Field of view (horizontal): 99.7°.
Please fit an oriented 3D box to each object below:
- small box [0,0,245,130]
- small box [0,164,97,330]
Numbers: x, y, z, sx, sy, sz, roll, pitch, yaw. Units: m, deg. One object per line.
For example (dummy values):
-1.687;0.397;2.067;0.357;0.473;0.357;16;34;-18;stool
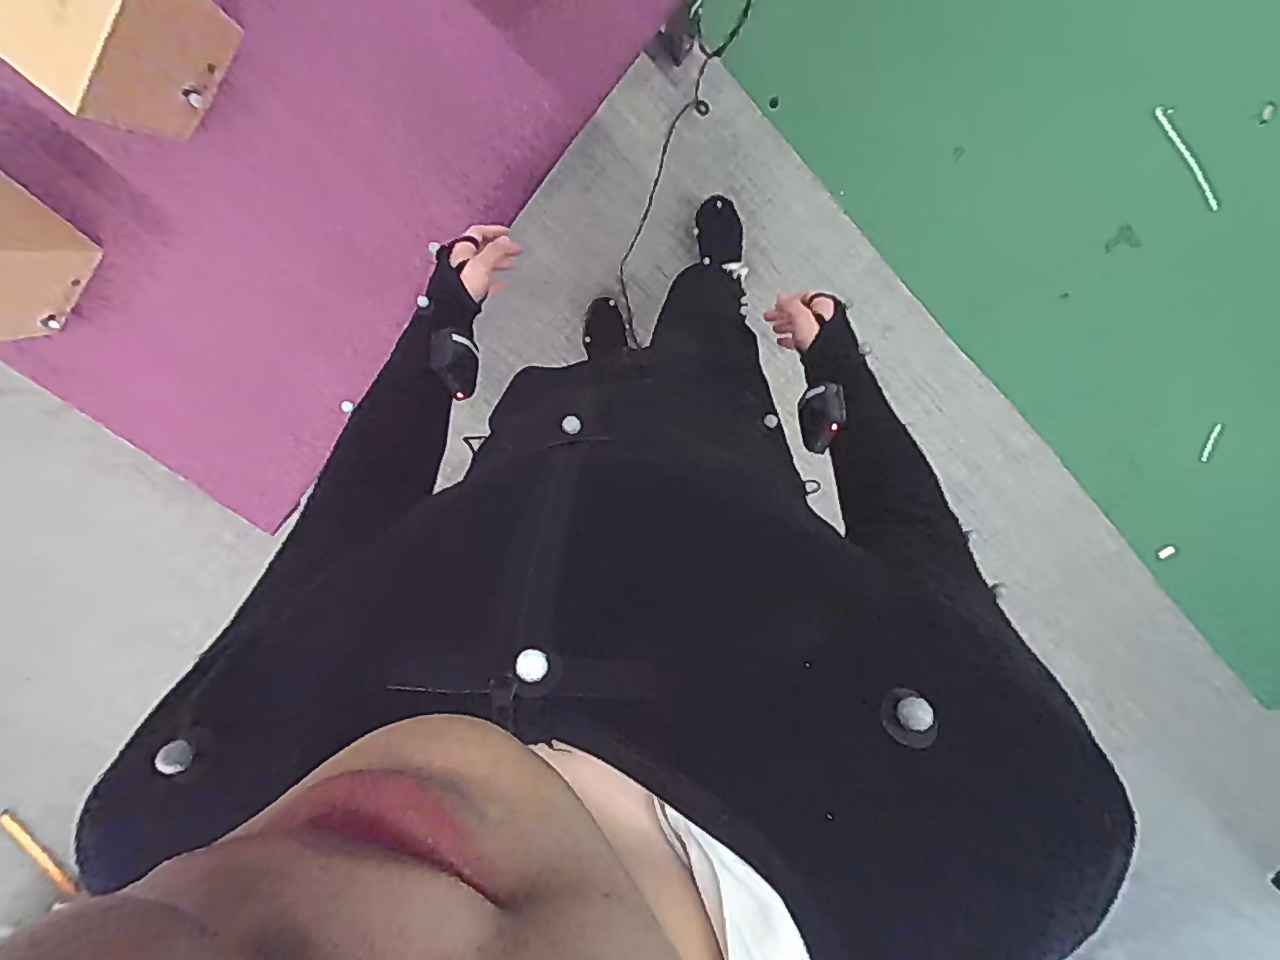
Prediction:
-0.610;-0.538;0.608;0.179;0.176;0.168;41;108;-15;small box
-0.885;-0.310;0.700;0.179;0.176;0.168;43;106;-16;small box
